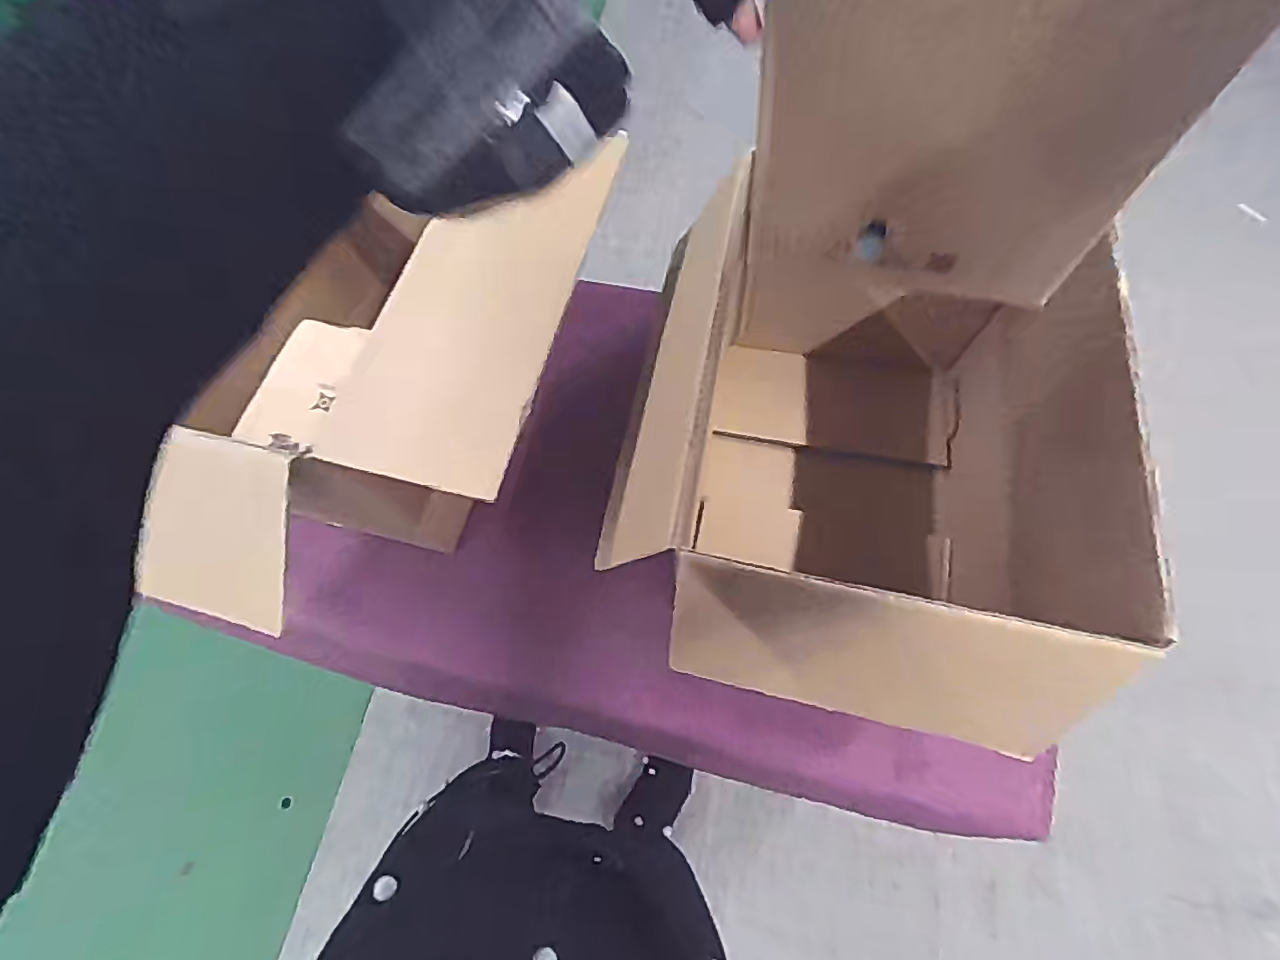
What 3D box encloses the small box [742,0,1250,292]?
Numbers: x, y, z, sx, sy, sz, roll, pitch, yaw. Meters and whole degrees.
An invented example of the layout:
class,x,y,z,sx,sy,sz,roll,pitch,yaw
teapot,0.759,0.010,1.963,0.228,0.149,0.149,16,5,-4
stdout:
class,x,y,z,sx,sy,sz,roll,pitch,yaw
small box,0.148,-0.227,0.269,0.168,0.176,0.179,12,73,14
